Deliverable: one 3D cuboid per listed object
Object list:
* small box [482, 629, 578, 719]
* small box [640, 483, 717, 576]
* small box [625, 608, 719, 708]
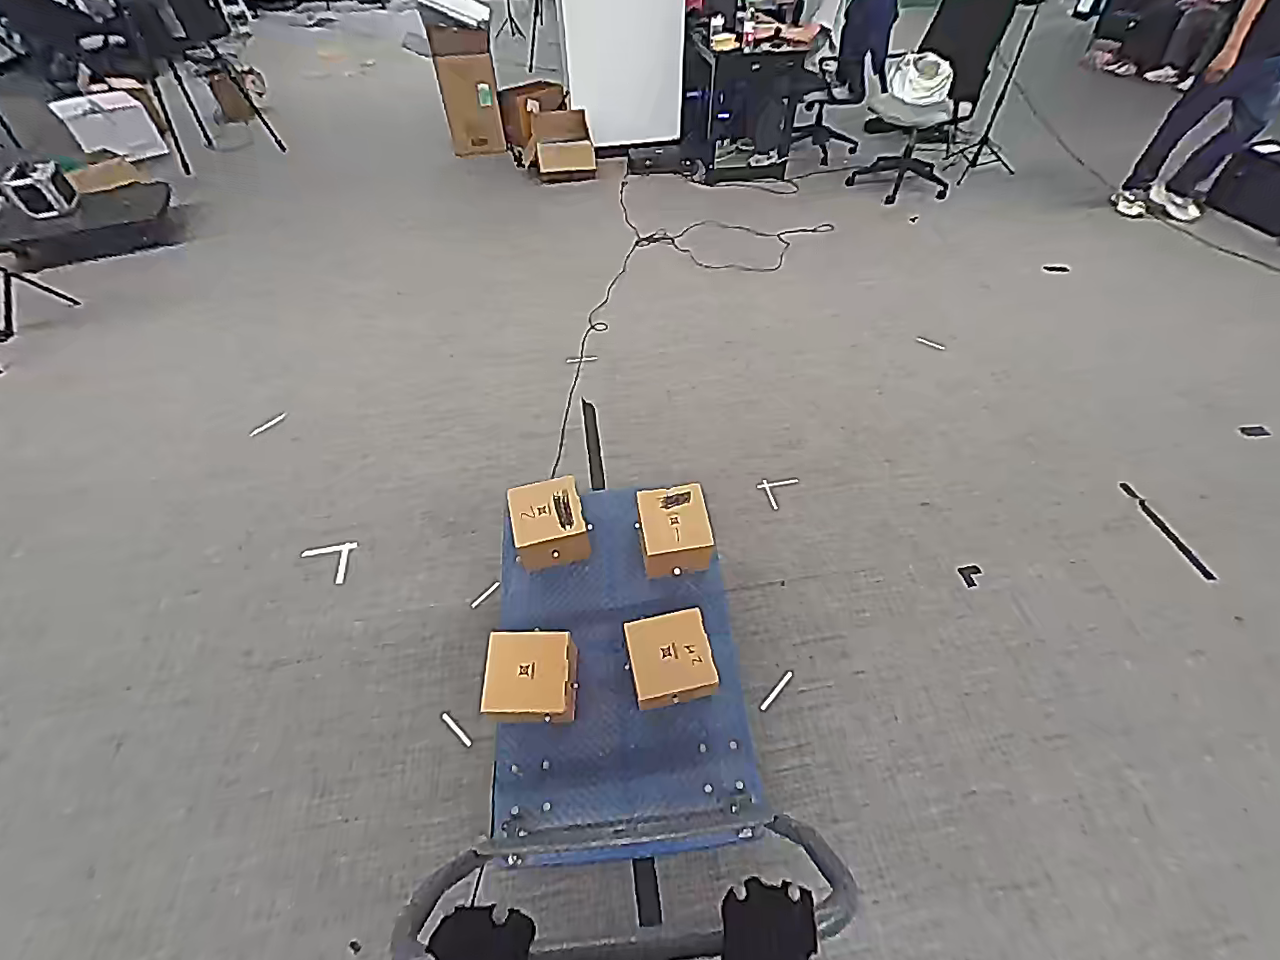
[{"bbox_3d":[-0.238,0.440,1.216,0.179,0.176,0.168,0,60,-1],"label":"small box"},{"bbox_3d":[0.091,0.129,1.387,0.168,0.176,0.179,-8,62,-3],"label":"small box"},{"bbox_3d":[0.069,0.409,1.229,0.179,0.176,0.168,-10,61,-5],"label":"small box"}]
